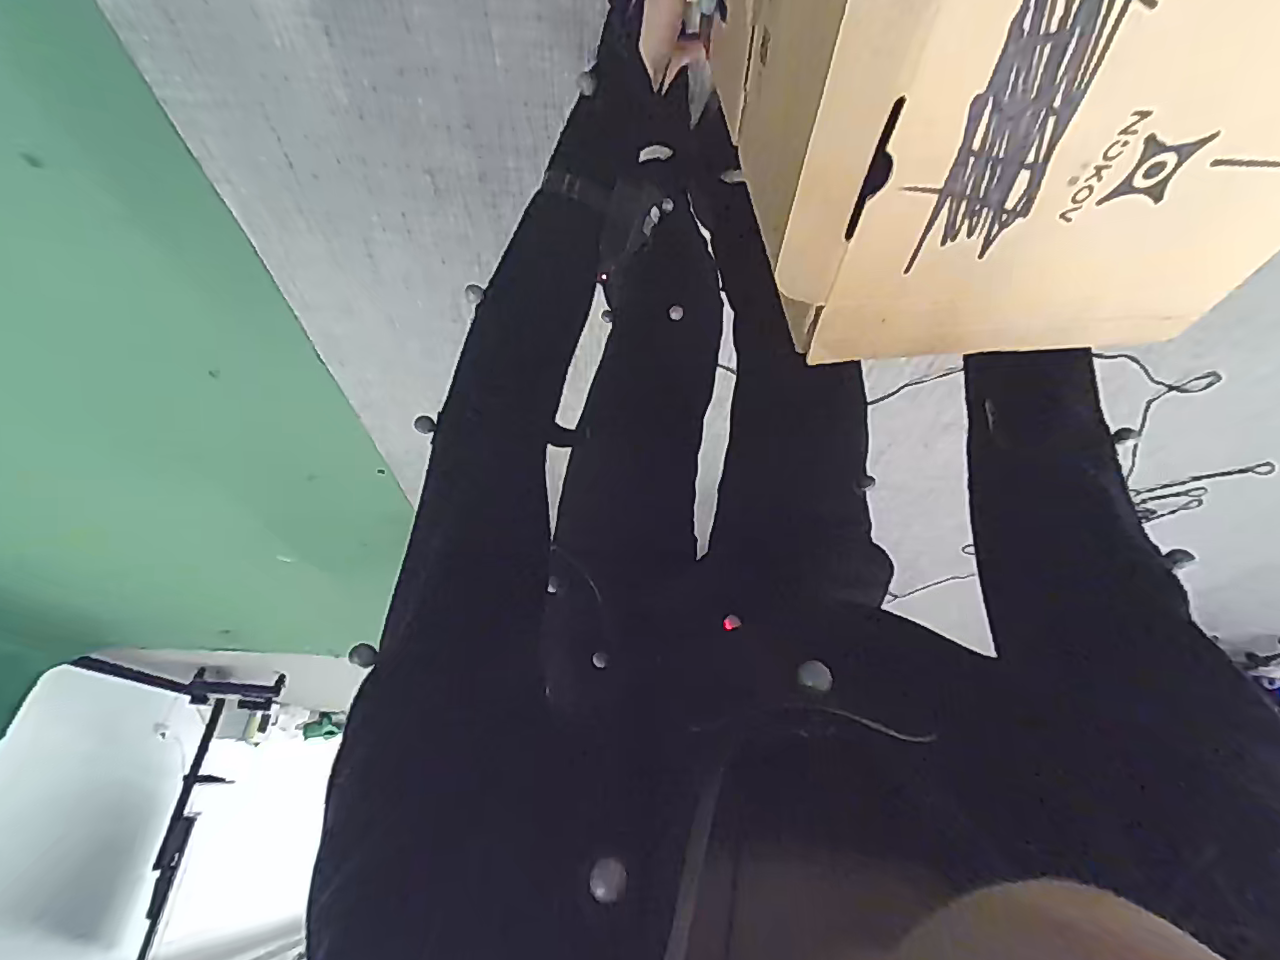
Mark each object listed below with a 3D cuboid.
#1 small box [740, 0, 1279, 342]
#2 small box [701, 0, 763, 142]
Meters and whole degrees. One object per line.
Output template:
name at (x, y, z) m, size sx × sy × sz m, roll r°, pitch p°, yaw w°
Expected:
small box at (0.145, -0.178, 0.219) m, size 0.179 × 0.176 × 0.168 m, roll -4°, pitch 150°, yaw -2°
small box at (0.132, -0.318, 0.301) m, size 0.179 × 0.176 × 0.168 m, roll -3°, pitch 149°, yaw -1°
